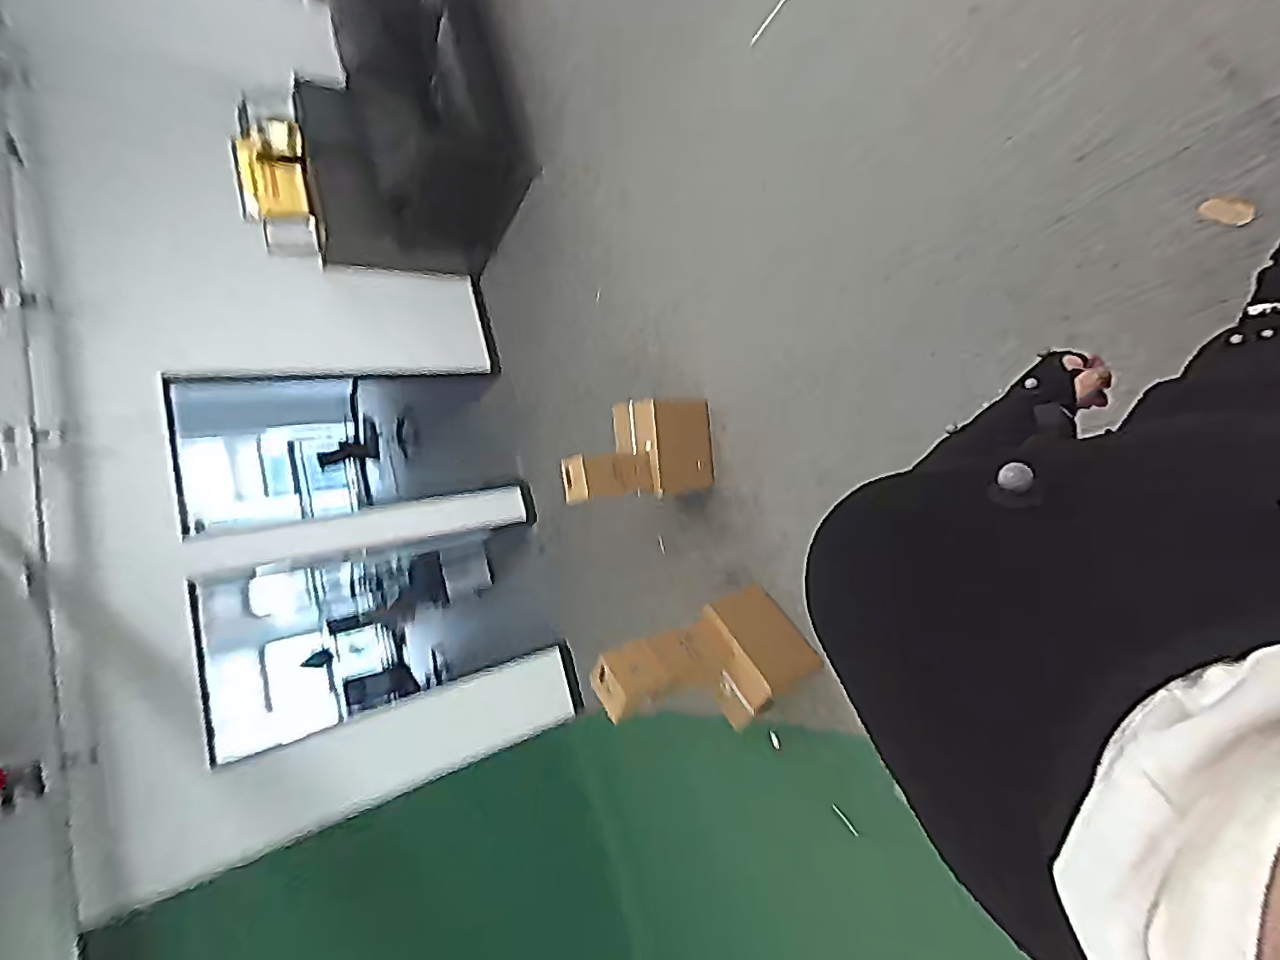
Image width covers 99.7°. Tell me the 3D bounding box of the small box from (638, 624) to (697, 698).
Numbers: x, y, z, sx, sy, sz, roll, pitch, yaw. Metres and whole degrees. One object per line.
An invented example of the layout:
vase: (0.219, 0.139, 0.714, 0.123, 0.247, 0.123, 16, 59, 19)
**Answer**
small box: (0.078, 0.652, 1.957, 0.168, 0.176, 0.179, 52, 134, 33)

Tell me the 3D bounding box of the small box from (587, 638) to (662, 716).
small box: (-0.053, 0.667, 1.860, 0.179, 0.176, 0.168, 50, 134, 33)

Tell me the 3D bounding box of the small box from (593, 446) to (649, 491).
small box: (-0.076, -0.049, 2.298, 0.179, 0.176, 0.168, -10, 89, 53)

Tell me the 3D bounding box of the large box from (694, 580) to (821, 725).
large box: (0.432, 0.678, 2.176, 0.408, 0.320, 0.320, 51, 136, 34)

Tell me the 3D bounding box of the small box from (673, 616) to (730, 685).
small box: (0.207, 0.639, 2.055, 0.179, 0.176, 0.168, 51, 135, 35)
